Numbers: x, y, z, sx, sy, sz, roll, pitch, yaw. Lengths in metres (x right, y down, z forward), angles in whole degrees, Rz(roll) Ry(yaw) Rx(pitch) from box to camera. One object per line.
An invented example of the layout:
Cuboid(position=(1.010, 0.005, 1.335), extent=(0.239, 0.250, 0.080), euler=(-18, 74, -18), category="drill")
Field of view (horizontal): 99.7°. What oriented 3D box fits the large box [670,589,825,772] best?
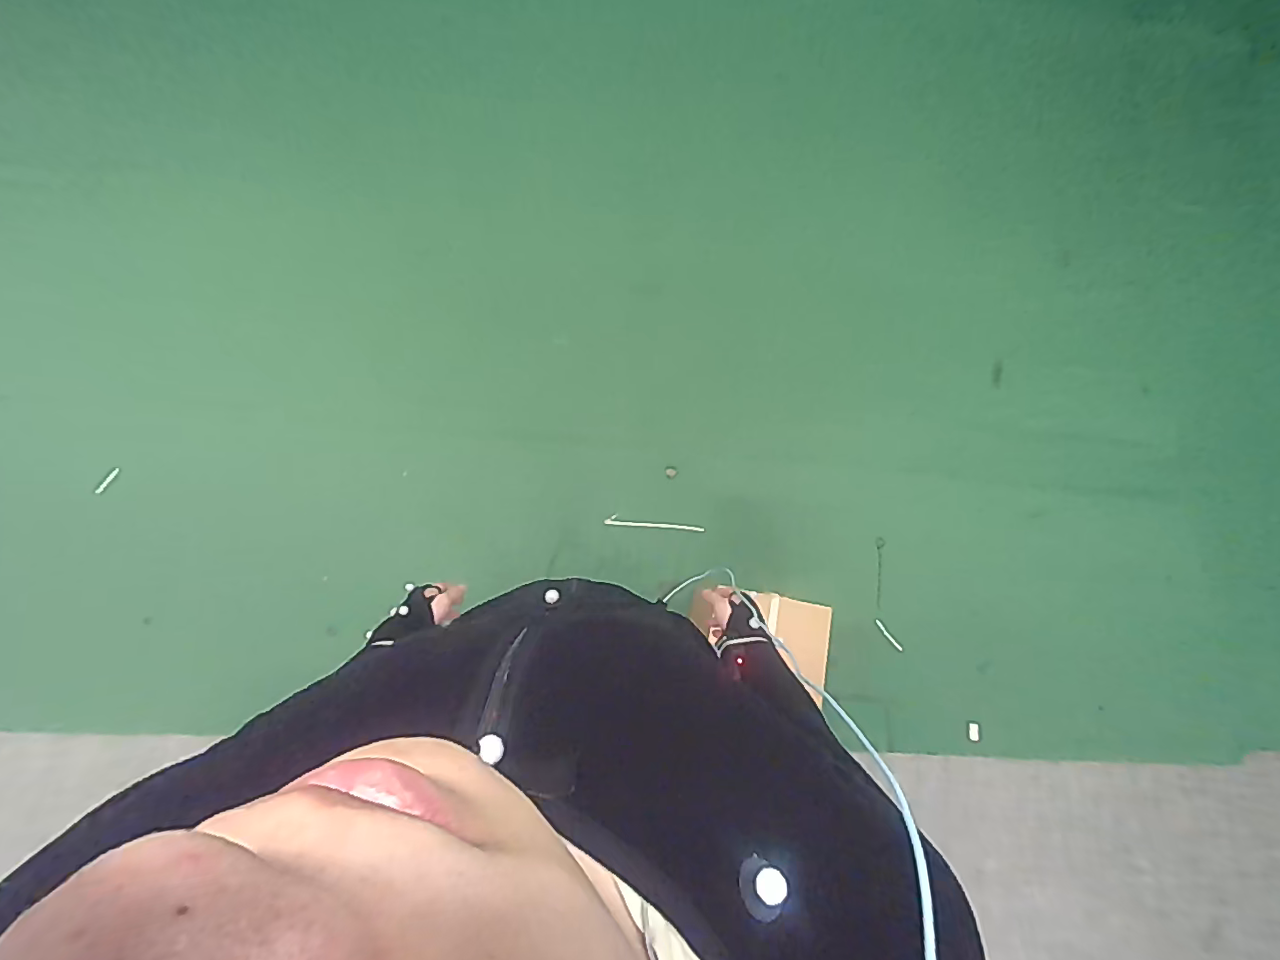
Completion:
Cuboid(position=(0.286, 0.528, 1.503), extent=(0.320, 0.320, 0.408), euler=(12, 77, -3), category="large box")
